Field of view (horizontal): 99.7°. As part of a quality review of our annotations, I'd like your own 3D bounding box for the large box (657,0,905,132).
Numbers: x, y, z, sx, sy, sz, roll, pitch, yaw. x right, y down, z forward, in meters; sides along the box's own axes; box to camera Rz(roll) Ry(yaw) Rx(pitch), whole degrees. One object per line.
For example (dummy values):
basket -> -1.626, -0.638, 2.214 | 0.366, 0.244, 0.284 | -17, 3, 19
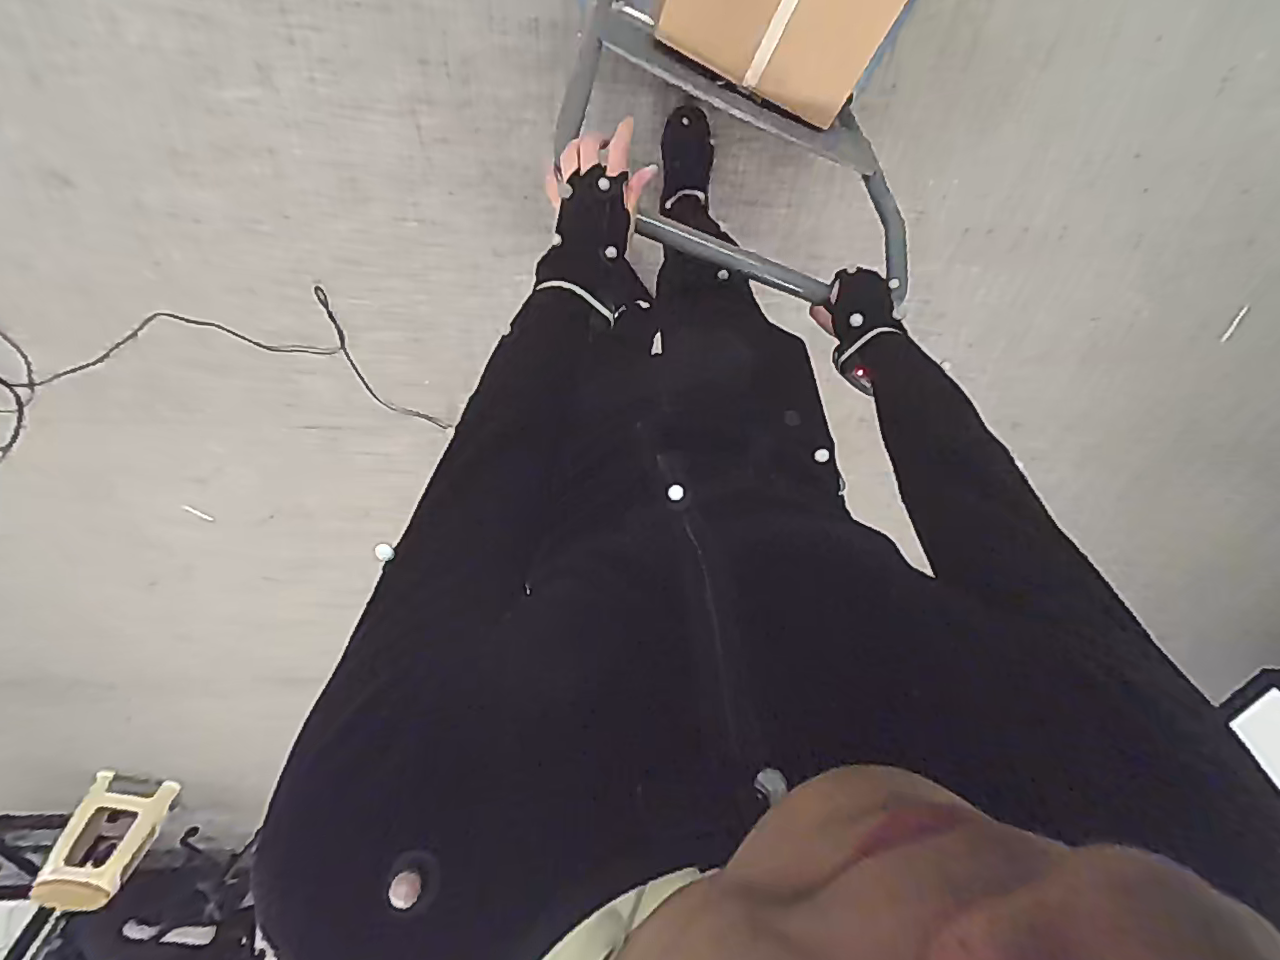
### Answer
large box -> 0.241, -0.834, 0.801 | 0.320, 0.320, 0.408 | 16, 137, -16
